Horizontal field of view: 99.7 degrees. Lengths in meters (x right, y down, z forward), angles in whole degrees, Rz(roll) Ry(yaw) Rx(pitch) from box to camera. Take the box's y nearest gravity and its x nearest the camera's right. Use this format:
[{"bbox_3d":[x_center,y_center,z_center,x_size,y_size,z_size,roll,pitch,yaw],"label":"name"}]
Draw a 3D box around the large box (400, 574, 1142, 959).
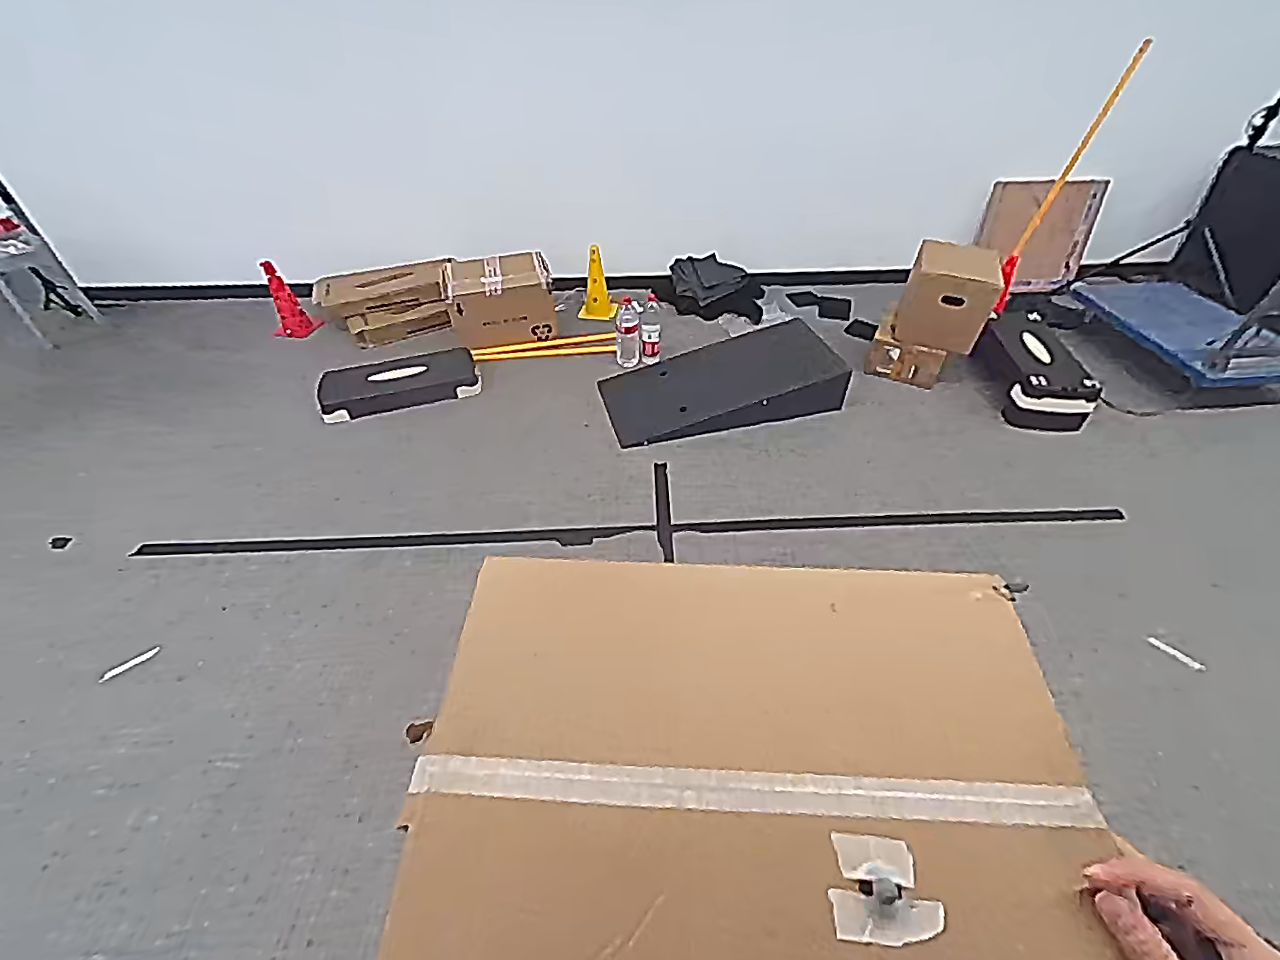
[{"bbox_3d":[0.071,0.292,0.452,0.408,0.320,0.320,1,52,2],"label":"large box"}]
